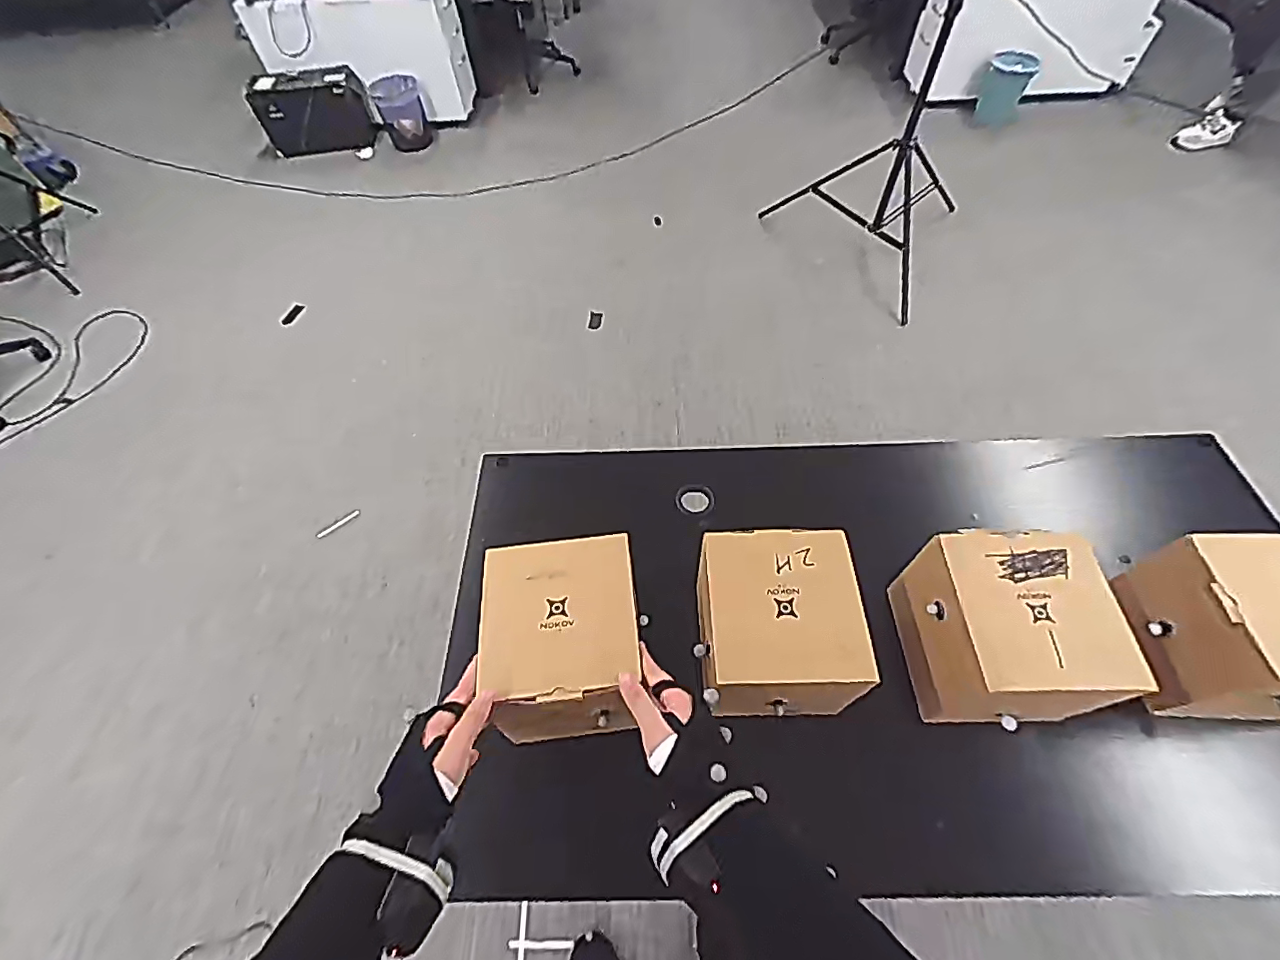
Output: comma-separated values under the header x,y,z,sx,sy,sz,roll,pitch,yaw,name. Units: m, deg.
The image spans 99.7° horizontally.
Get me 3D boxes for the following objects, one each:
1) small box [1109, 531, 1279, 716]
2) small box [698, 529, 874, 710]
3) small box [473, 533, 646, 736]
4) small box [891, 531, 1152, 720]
x,y,z,sx,sy,sz,roll,pitch,yaw,name
0.706,0.172,0.635,0.179,0.176,0.168,0,56,4,small box
0.159,0.175,0.657,0.168,0.176,0.179,-1,56,1,small box
-0.085,0.187,0.632,0.168,0.176,0.179,-7,52,-2,small box
0.424,0.177,0.645,0.168,0.176,0.179,-1,57,2,small box
